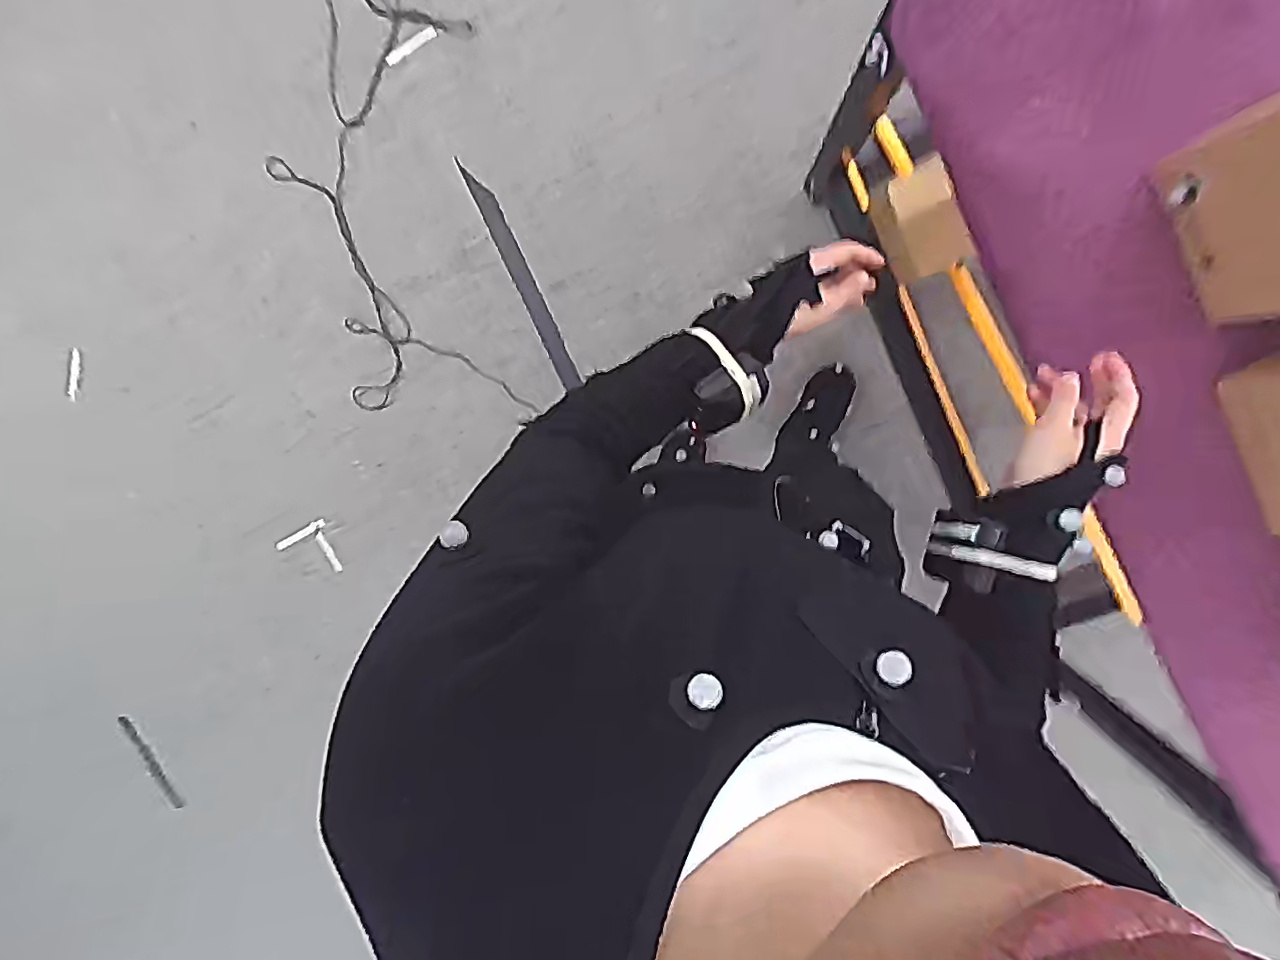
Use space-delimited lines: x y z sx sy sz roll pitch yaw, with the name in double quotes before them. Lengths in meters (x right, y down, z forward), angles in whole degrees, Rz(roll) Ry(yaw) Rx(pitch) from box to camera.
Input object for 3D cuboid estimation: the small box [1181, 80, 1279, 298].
"small box" 0.585 -0.262 0.417 0.179 0.176 0.168 -28 97 10
